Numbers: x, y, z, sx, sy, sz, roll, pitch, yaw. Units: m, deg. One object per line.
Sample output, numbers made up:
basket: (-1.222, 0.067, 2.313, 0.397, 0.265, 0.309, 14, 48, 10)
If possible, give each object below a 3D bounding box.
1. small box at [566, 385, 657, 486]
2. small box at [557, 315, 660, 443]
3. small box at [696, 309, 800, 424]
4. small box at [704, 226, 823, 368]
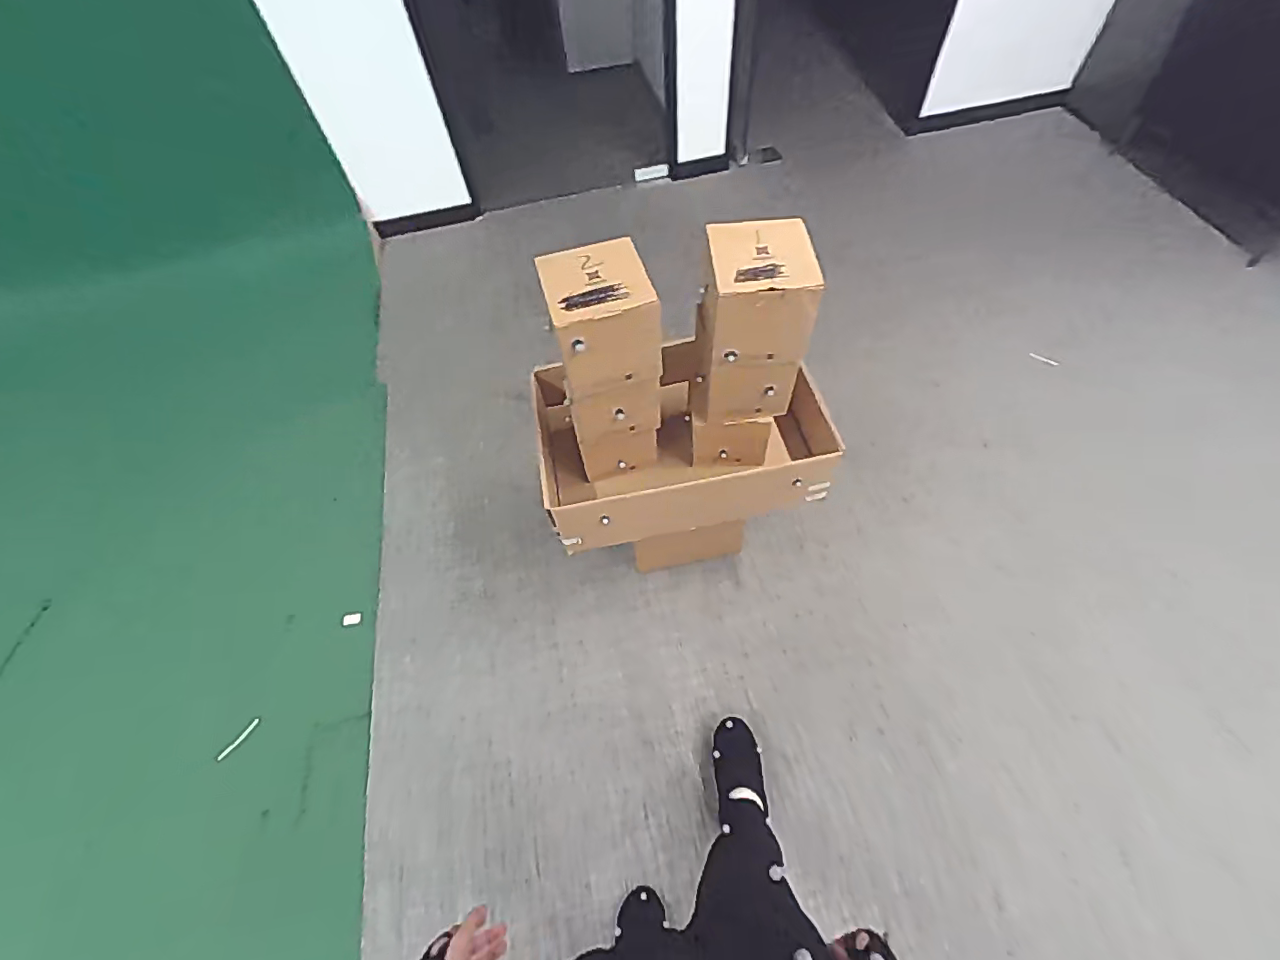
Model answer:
small box: (-0.061, -0.114, 1.216, 0.168, 0.176, 0.179, -14, 58, -4)
small box: (-0.058, -0.190, 1.070, 0.168, 0.176, 0.179, -13, 59, -5)
small box: (0.206, -0.225, 1.078, 0.168, 0.176, 0.179, -6, 58, -1)
small box: (0.202, -0.309, 0.938, 0.168, 0.176, 0.179, -3, 57, 1)
